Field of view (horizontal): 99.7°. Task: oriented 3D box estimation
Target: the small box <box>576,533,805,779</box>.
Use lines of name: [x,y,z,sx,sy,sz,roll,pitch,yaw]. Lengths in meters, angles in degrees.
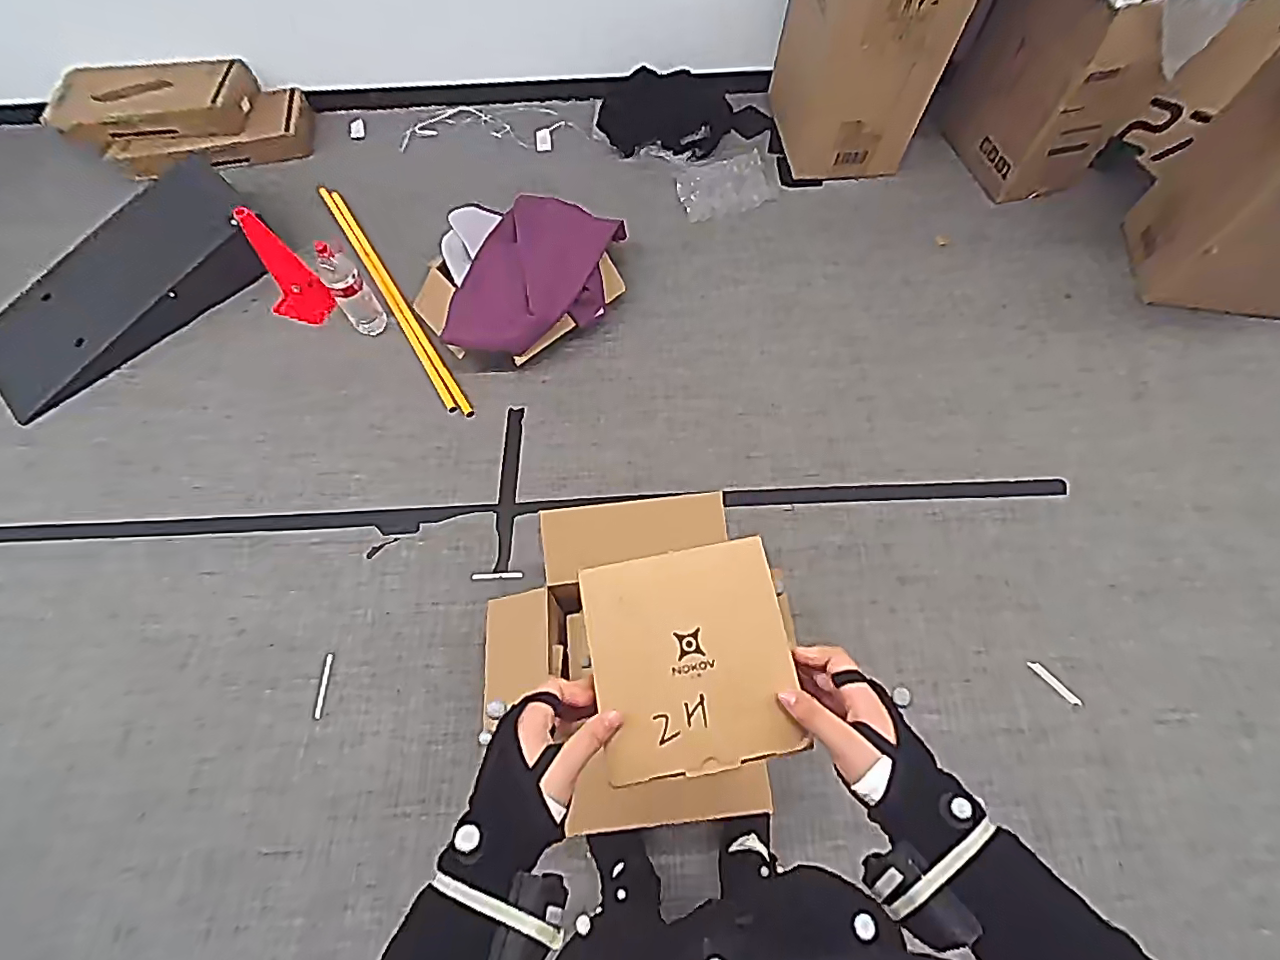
small box: [0.040,0.166,0.528,0.168,0.176,0.179,-11,72,0]
